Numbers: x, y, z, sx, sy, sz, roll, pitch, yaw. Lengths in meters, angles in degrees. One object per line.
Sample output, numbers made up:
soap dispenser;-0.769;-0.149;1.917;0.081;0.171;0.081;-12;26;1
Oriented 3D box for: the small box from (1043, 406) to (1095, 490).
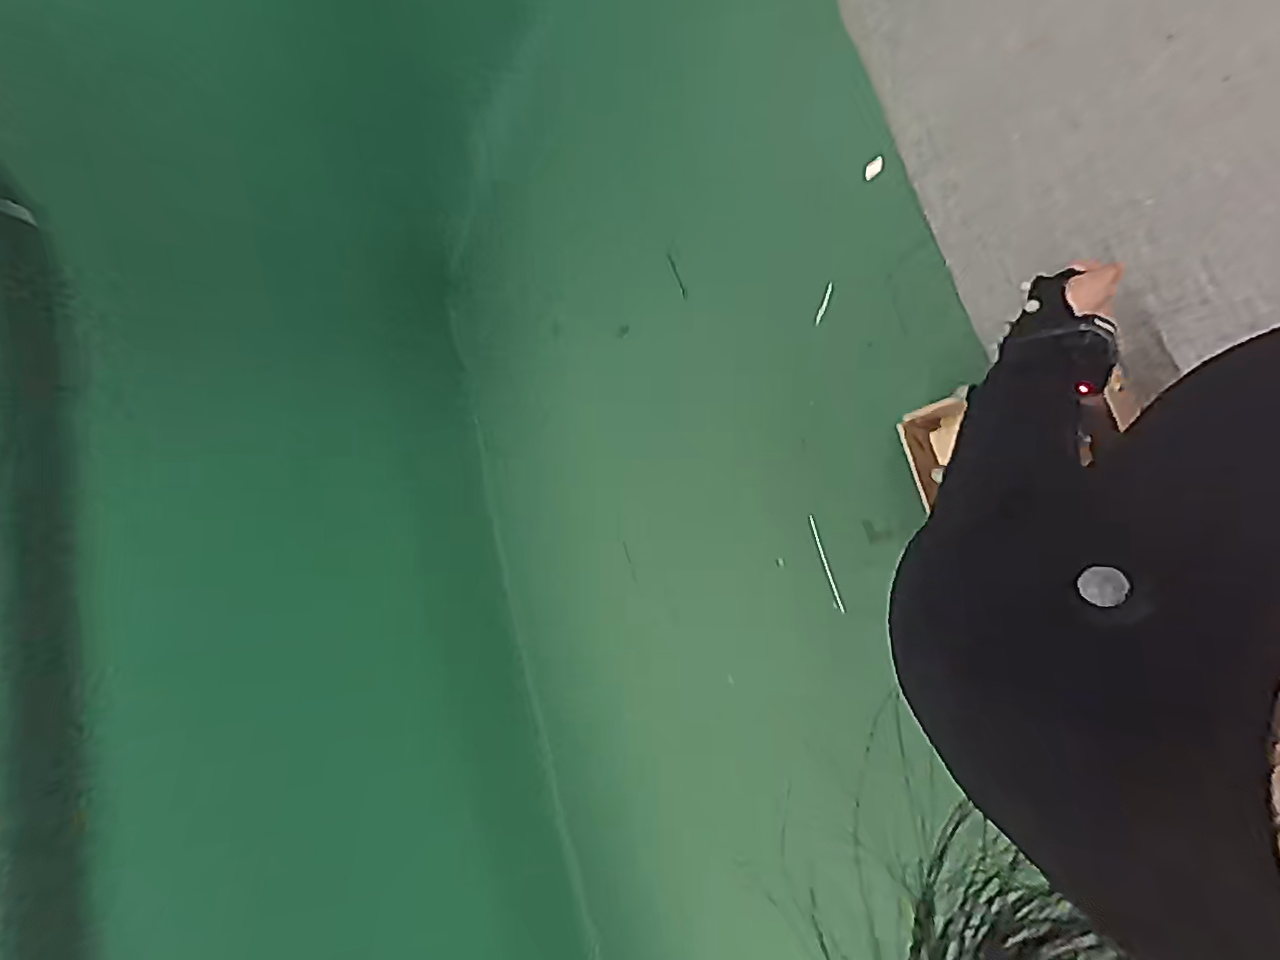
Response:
small box;0.848;-0.058;1.171;0.179;0.176;0.168;-24;77;49
